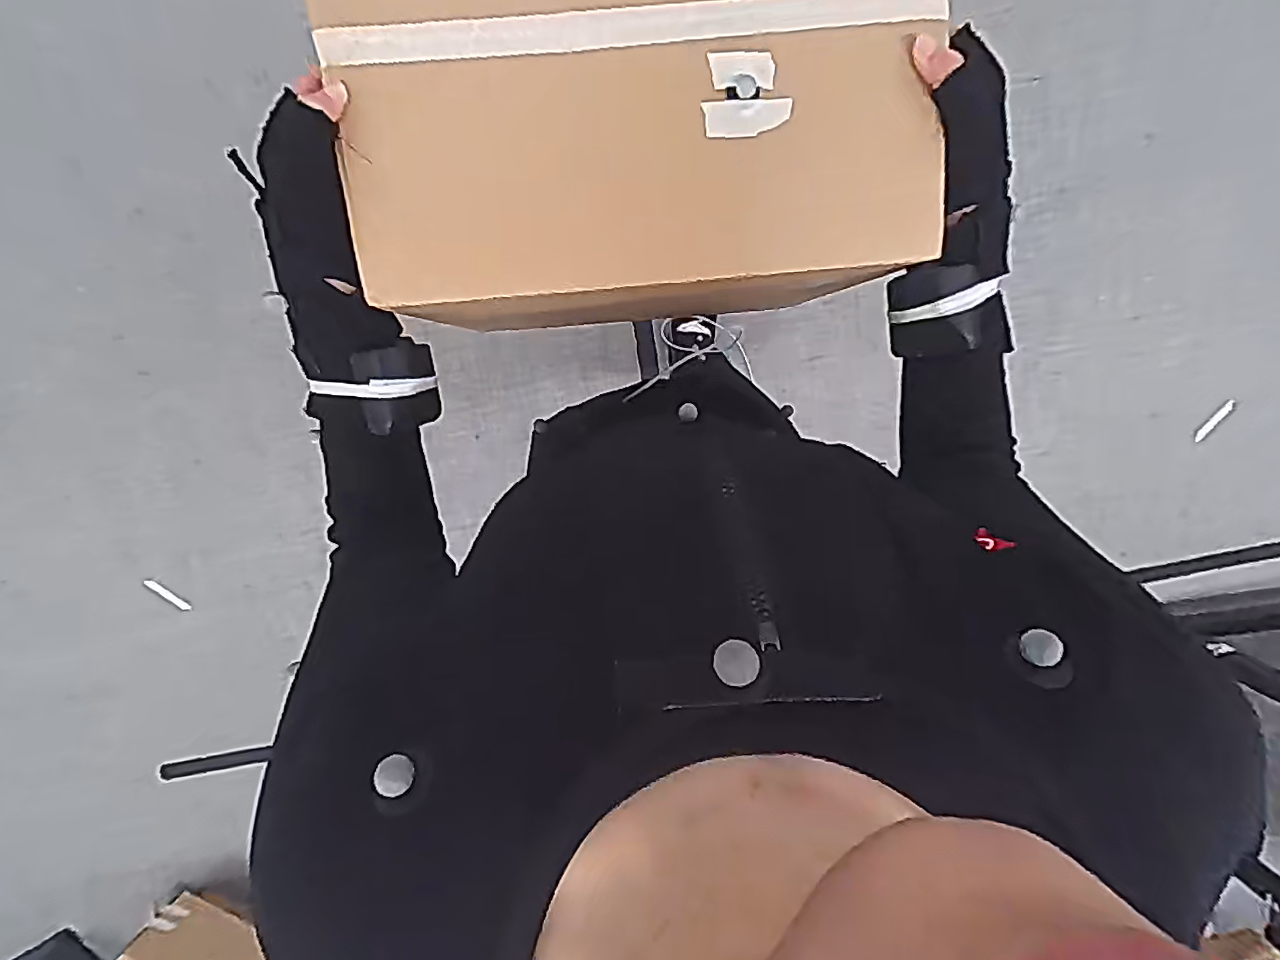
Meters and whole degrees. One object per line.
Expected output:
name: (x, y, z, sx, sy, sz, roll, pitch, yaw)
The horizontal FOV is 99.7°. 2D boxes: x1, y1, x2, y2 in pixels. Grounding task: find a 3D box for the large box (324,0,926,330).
large box: (-0.013, -0.326, 0.505, 0.408, 0.320, 0.320, -6, 103, -2)
